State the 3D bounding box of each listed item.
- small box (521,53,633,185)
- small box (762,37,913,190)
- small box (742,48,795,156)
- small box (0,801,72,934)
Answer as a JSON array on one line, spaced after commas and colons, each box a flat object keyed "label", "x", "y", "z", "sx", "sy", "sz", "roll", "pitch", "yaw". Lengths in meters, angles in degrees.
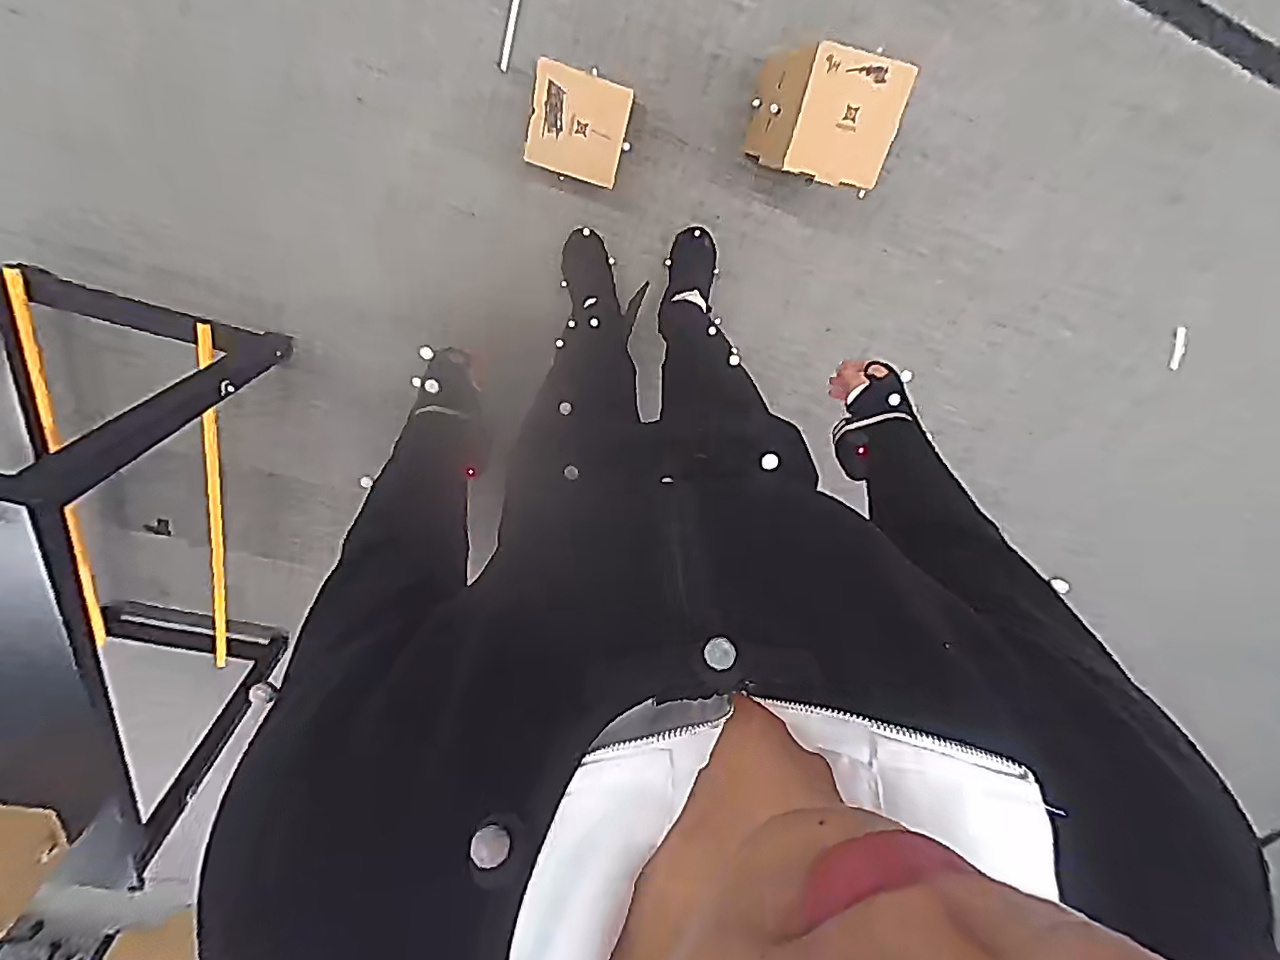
[{"label": "small box", "x": -0.121, "y": -0.695, "z": 1.055, "sx": 0.179, "sy": 0.176, "sz": 0.168, "roll": 13, "pitch": 121, "yaw": -11}, {"label": "small box", "x": 0.323, "y": -0.623, "z": 0.931, "sx": 0.168, "sy": 0.176, "sz": 0.179, "roll": 9, "pitch": 123, "yaw": -9}, {"label": "small box", "x": 0.321, "y": -0.718, "z": 1.064, "sx": 0.179, "sy": 0.176, "sz": 0.168, "roll": 10, "pitch": 121, "yaw": -9}, {"label": "small box", "x": -1.302, "y": 0.757, "z": 1.065, "sx": 0.179, "sy": 0.176, "sz": 0.168, "roll": 13, "pitch": 122, "yaw": -11}]
